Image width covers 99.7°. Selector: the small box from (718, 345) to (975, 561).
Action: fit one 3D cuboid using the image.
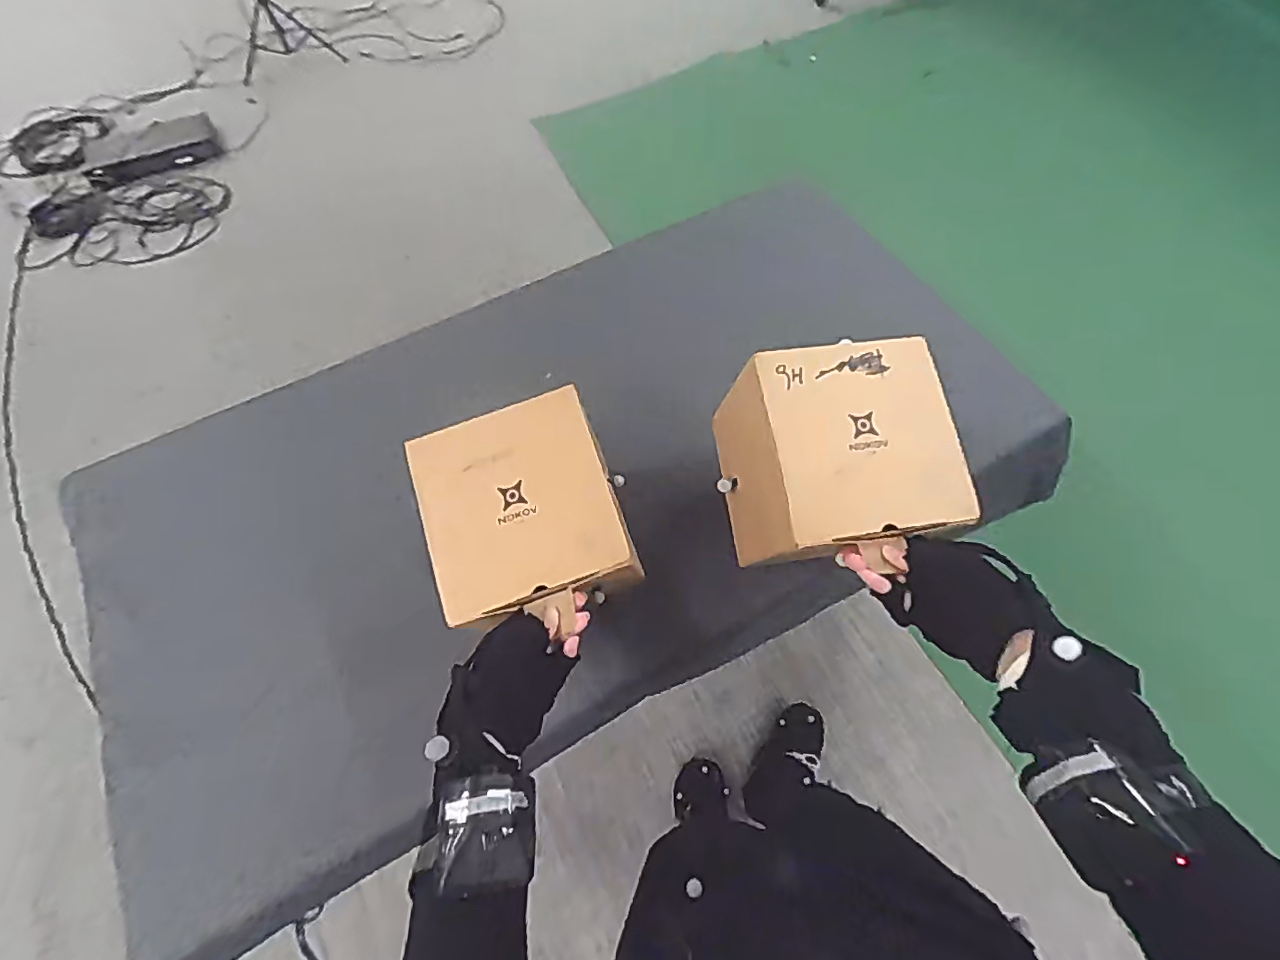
[{"bbox_3d":[0.188,-0.015,0.547,0.168,0.176,0.179,-6,77,-9],"label":"small box"}]
